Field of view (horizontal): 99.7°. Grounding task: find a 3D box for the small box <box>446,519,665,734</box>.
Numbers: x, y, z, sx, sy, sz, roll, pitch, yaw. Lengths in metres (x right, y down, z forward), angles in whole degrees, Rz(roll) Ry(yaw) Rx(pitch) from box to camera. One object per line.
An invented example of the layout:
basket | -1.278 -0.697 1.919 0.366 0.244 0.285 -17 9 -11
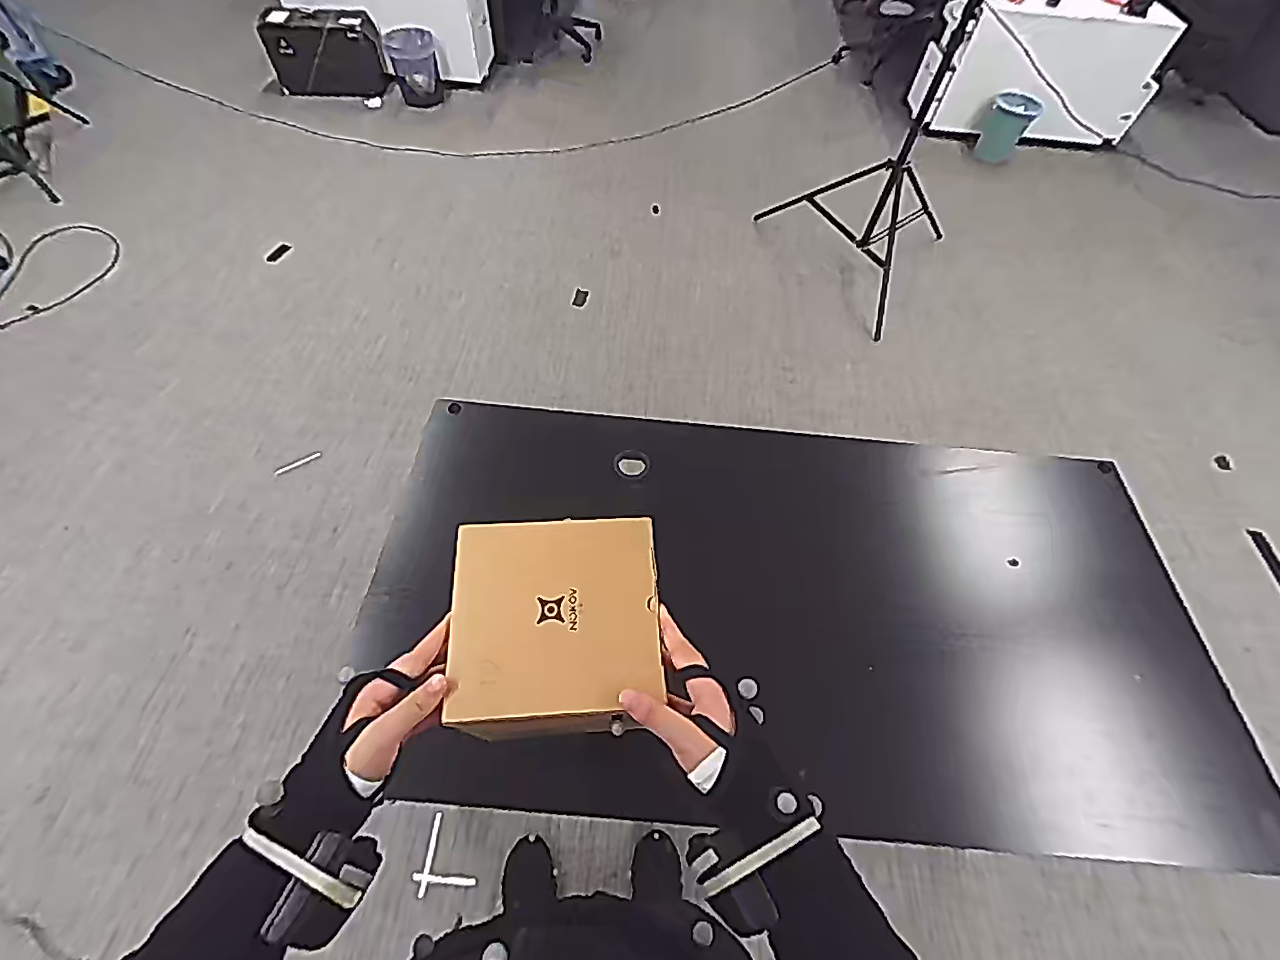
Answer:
small box | -0.075 0.150 0.533 0.179 0.176 0.168 -2 61 -6
